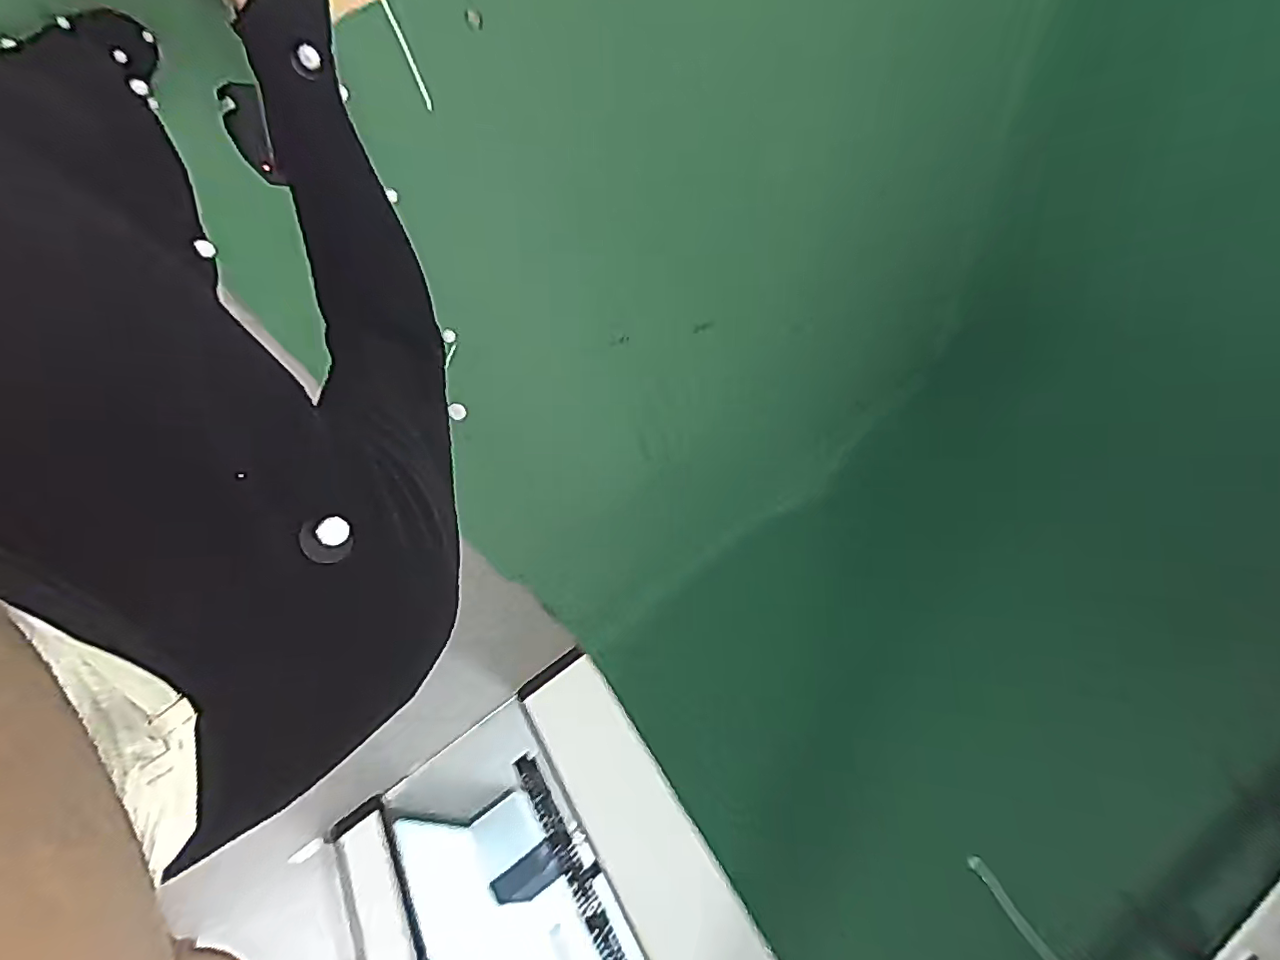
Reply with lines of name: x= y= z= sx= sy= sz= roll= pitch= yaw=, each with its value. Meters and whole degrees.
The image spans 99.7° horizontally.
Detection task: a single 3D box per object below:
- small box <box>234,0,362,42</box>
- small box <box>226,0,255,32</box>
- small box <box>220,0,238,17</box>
small box: x=-0.432 y=-0.655 z=0.636 sx=0.179 sy=0.176 sz=0.168 roll=-35 pitch=143 yaw=-8
small box: x=-0.608 y=-0.844 z=0.839 sx=0.168 sy=0.176 sz=0.179 roll=-36 pitch=143 yaw=-8
small box: x=-0.699 y=-0.943 z=0.930 sx=0.168 sy=0.176 sz=0.179 roll=-34 pitch=143 yaw=-11
